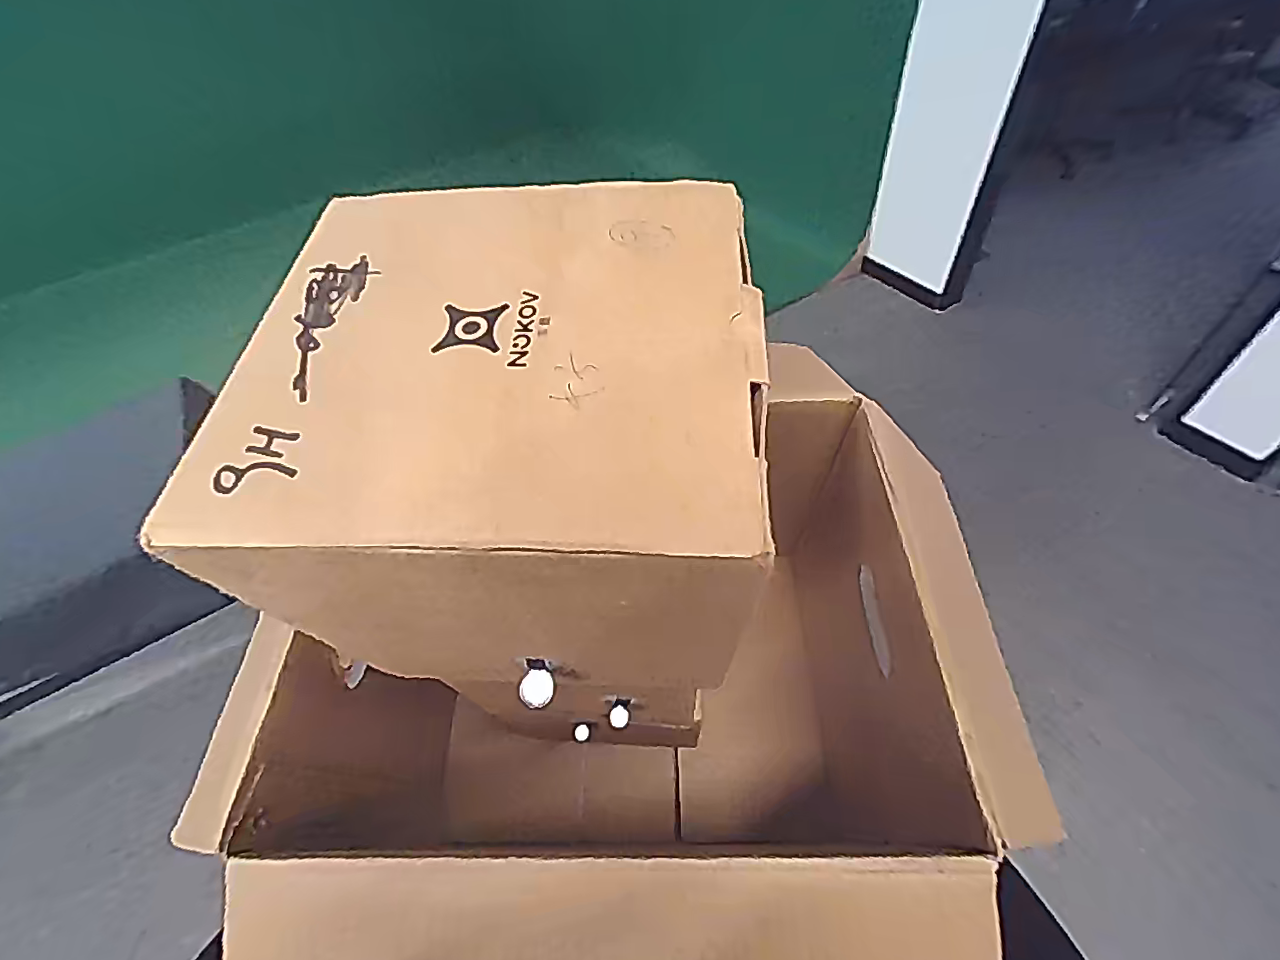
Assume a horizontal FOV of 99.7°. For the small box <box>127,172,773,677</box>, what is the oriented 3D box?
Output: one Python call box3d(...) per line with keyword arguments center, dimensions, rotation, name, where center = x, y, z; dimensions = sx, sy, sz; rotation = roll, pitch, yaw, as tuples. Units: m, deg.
box3d(center=(-0.046, -0.012, 0.250), dimensions=(0.179, 0.176, 0.168), rotation=(1, 58, 3), name="small box")
